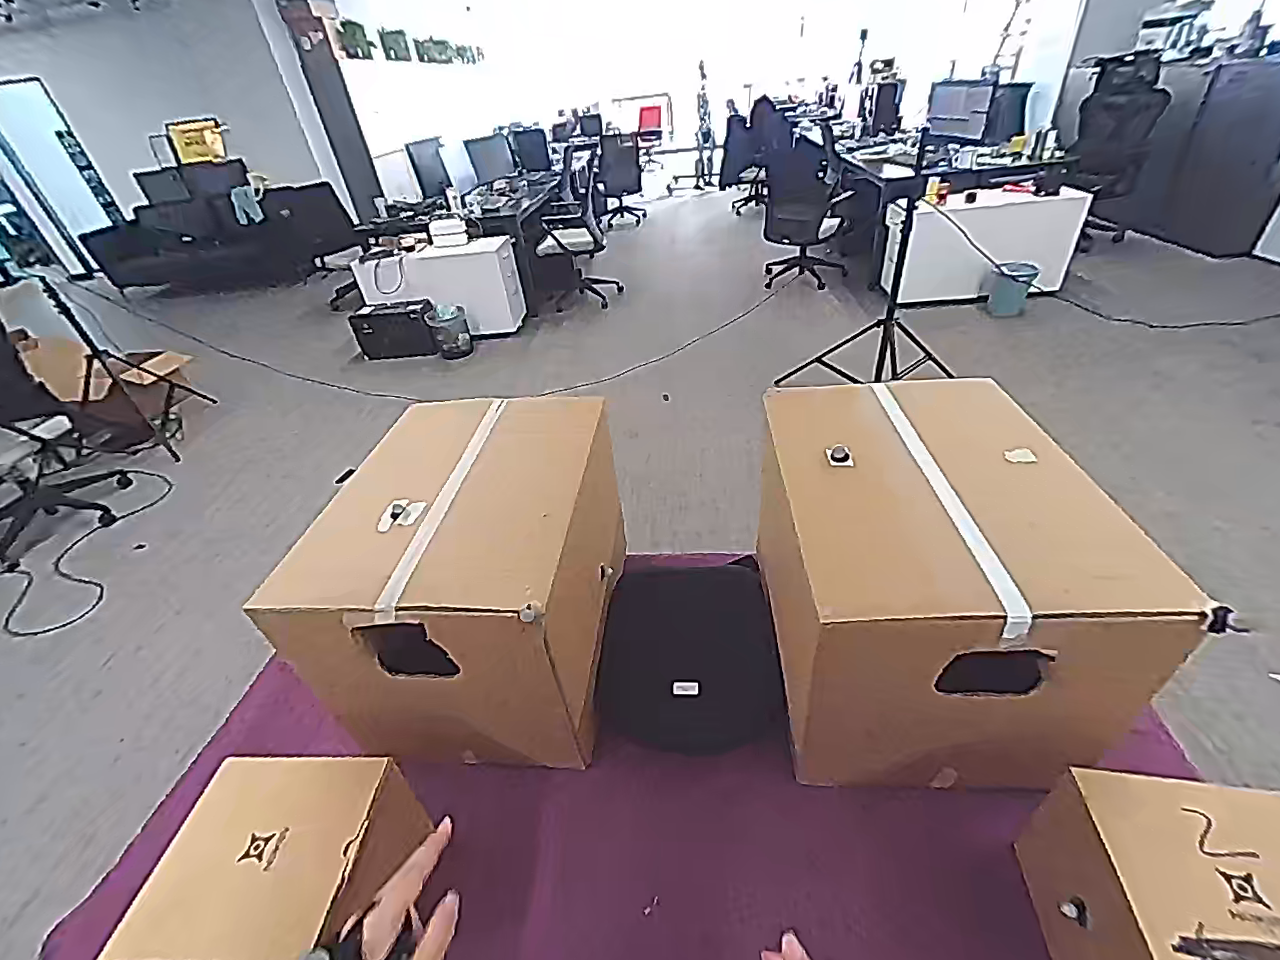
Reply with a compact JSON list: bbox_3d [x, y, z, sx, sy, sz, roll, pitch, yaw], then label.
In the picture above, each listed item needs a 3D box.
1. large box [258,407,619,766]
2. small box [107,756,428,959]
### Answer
[{"bbox_3d":[-0.212,0.133,0.773,0.320,0.320,0.408,-2,39,8],"label":"large box"},{"bbox_3d":[-0.342,0.401,0.543,0.179,0.176,0.168,-1,36,2],"label":"small box"}]
